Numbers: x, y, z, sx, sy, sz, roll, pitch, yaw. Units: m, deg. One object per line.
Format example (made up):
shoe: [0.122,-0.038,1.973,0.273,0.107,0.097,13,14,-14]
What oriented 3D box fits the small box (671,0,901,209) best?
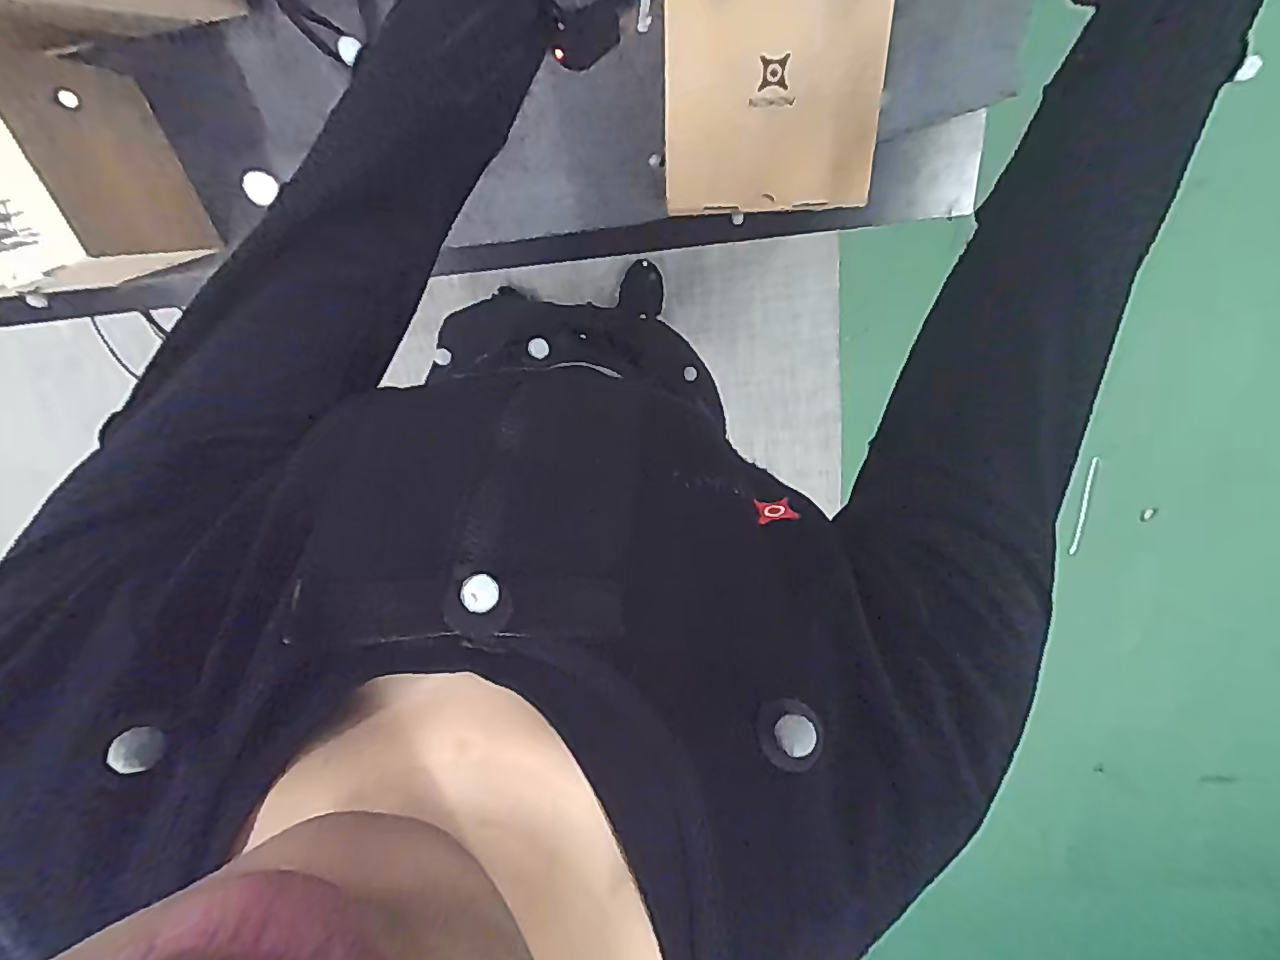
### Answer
small box: [0.111,-0.341,0.480,0.168,0.176,0.179,0,118,5]
